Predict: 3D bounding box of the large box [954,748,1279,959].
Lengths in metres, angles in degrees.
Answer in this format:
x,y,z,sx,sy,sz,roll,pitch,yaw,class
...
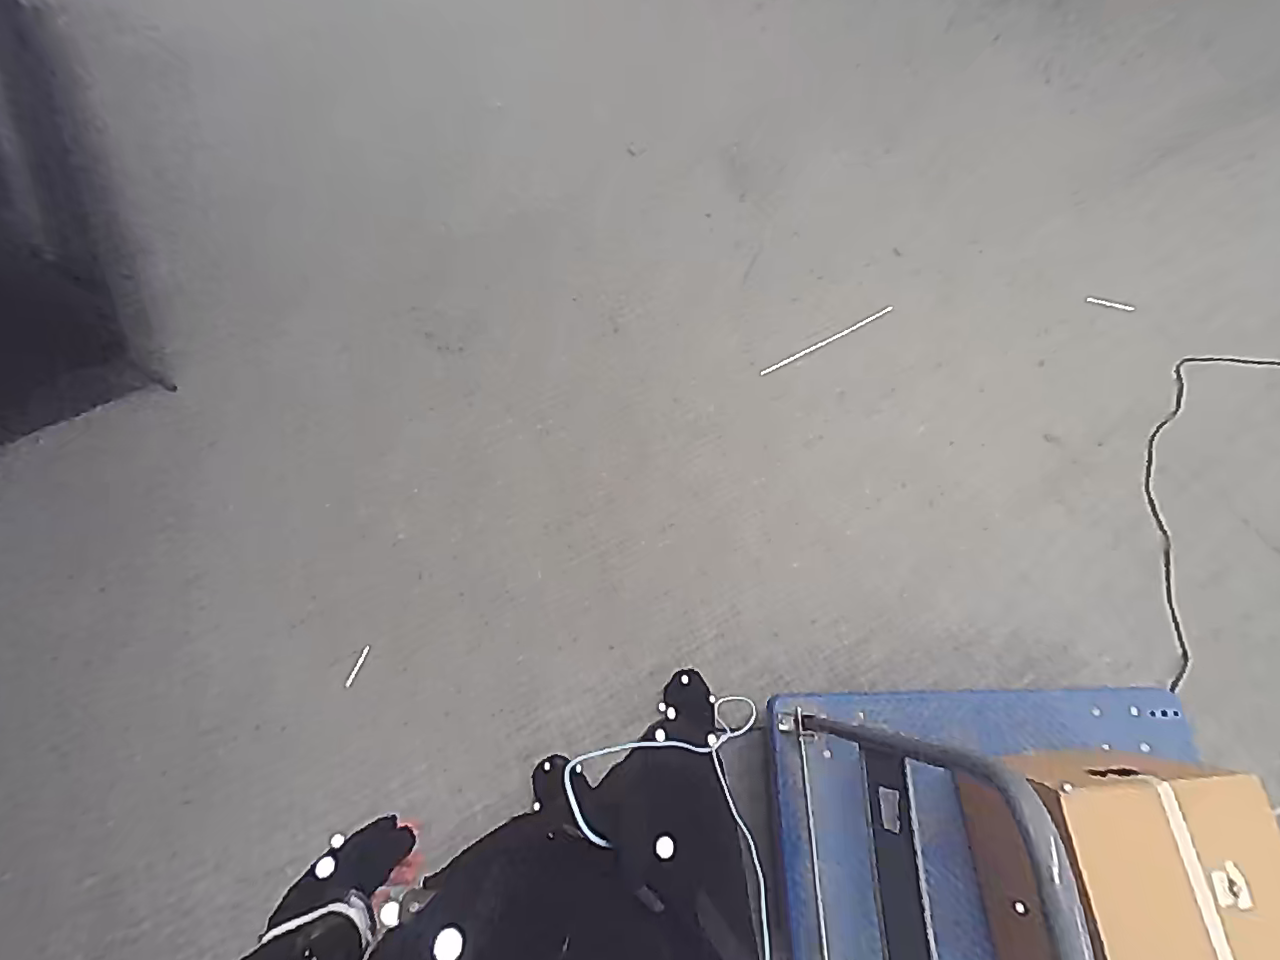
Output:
x,y,z,sx,sy,sz,roll,pitch,yaw,class
0.796,0.691,0.890,0.320,0.320,0.408,-5,70,-2,large box
